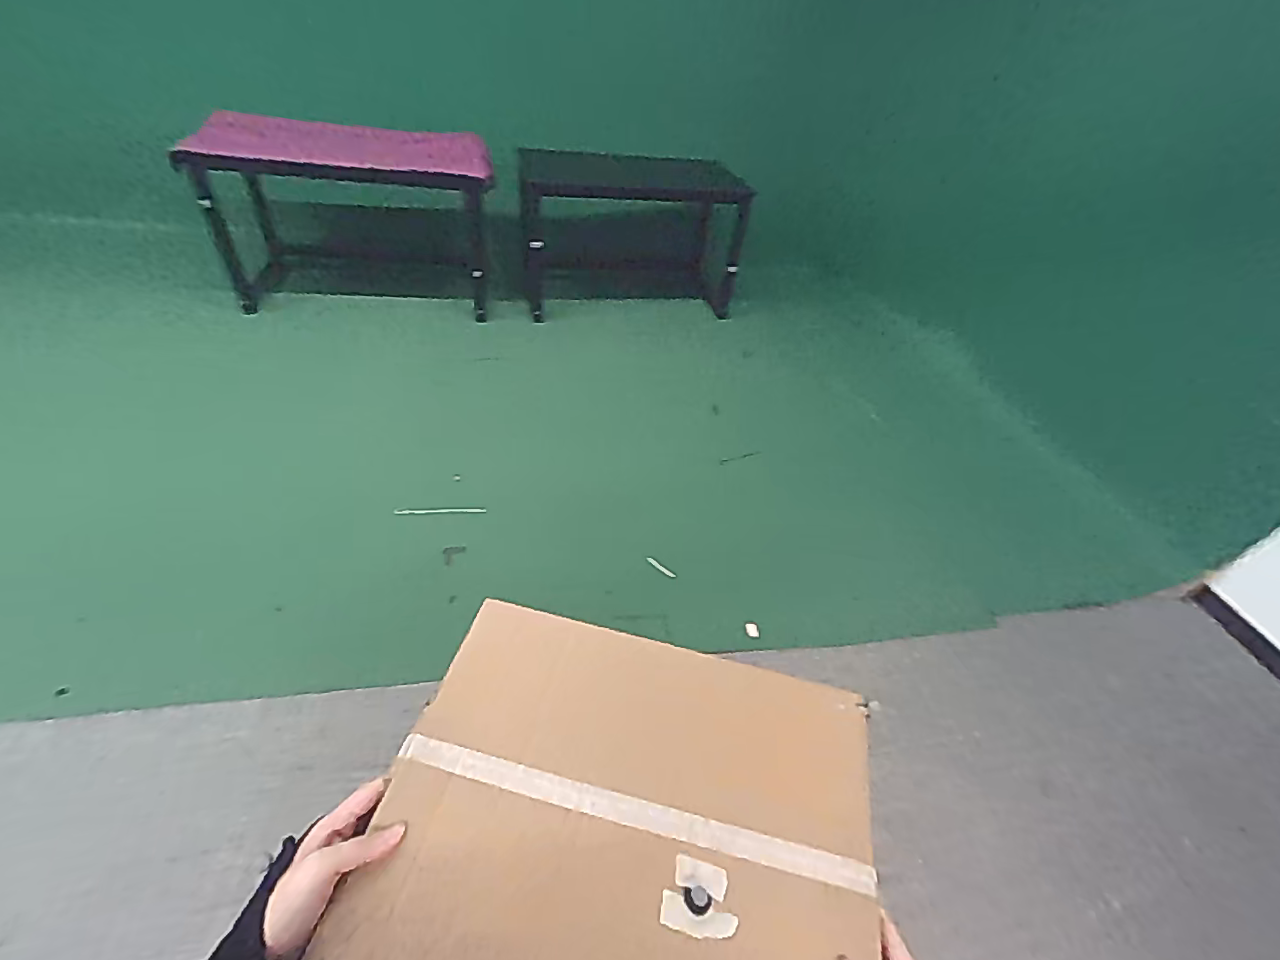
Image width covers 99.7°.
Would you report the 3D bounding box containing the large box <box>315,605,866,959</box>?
[{"bbox_3d":[-0.022,0.382,0.574,0.408,0.320,0.320,12,47,6],"label":"large box"}]
